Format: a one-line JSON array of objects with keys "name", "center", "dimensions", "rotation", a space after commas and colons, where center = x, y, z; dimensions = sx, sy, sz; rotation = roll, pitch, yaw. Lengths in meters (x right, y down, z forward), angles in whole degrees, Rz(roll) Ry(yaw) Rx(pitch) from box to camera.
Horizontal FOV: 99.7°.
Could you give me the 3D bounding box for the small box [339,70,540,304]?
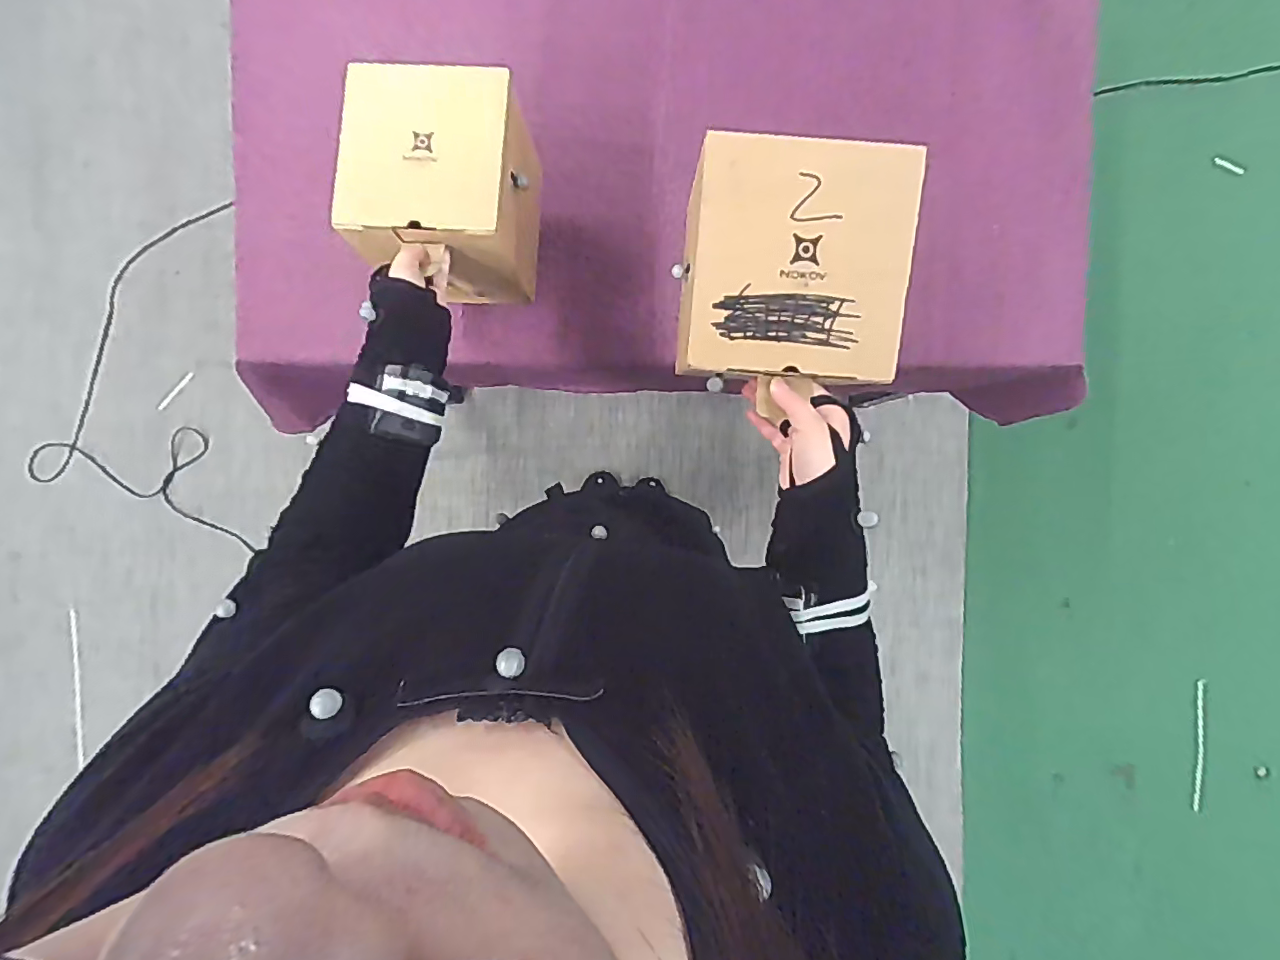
[{"name": "small box", "center": [-0.217, -0.328, 0.632], "dimensions": [0.168, 0.176, 0.179], "rotation": [3, 85, 1]}]
